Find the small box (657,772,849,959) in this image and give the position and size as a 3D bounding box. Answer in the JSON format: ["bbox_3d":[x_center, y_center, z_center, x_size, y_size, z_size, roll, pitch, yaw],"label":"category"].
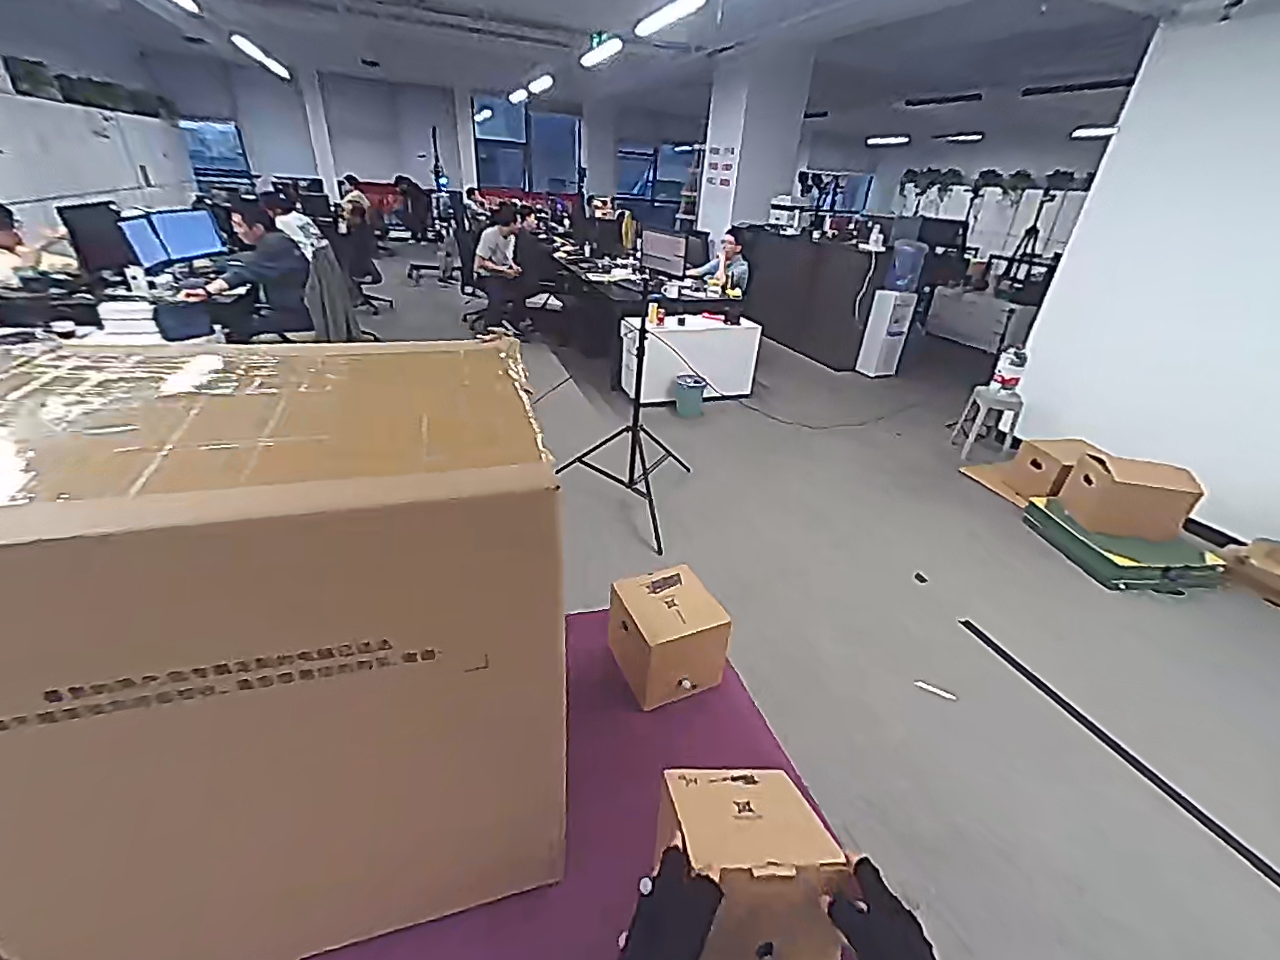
[{"bbox_3d":[0.116,0.463,0.616,0.168,0.176,0.179,5,1,-7],"label":"small box"}]
